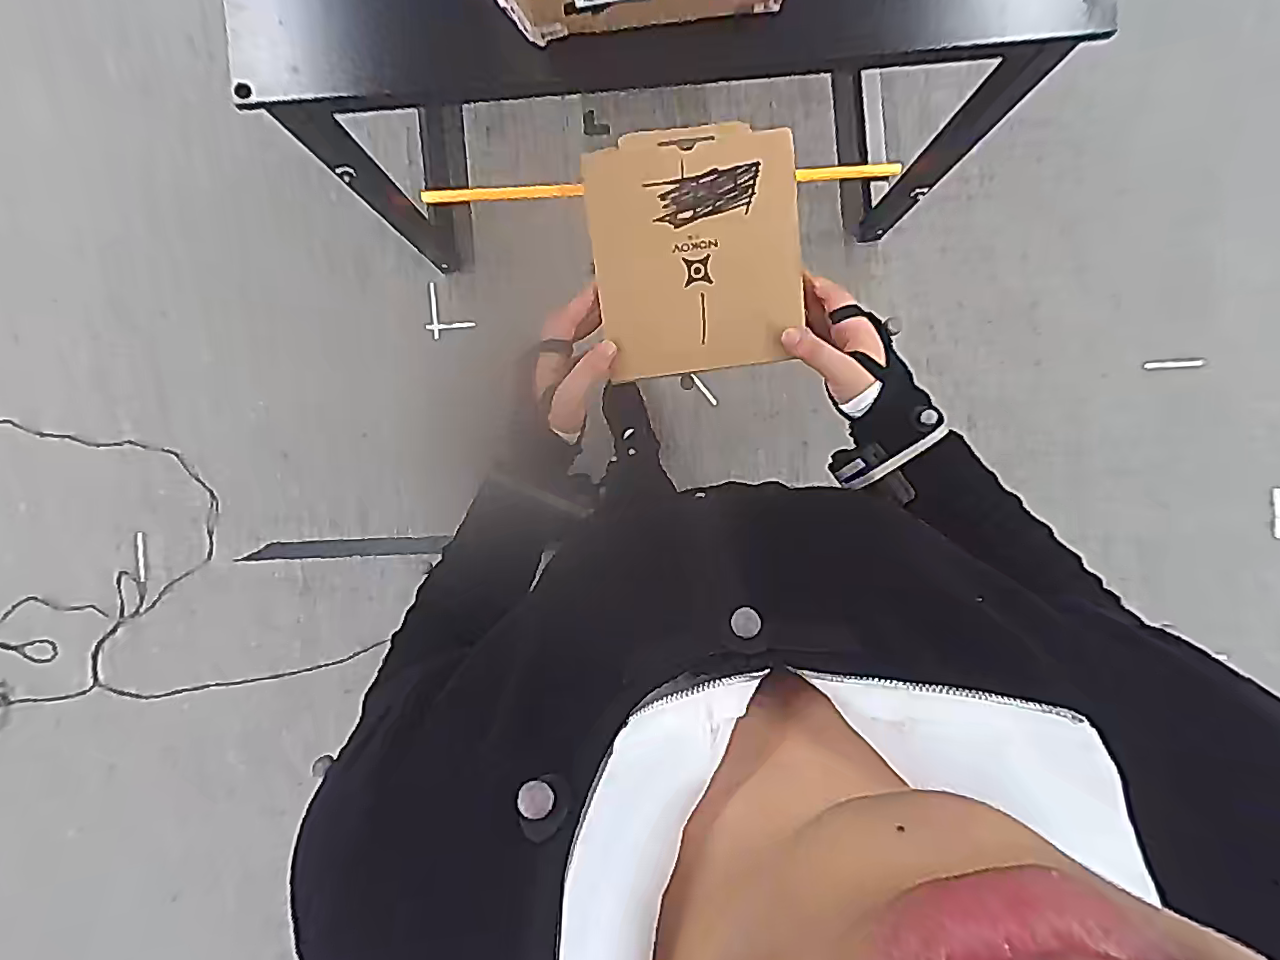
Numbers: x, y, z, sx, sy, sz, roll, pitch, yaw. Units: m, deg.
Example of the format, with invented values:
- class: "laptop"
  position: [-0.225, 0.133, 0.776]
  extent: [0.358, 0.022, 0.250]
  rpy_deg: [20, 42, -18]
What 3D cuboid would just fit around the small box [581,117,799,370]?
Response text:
- class: "small box"
  position: [0.040, -0.202, 0.511]
  extent: [0.168, 0.176, 0.179]
  rpy_deg: [-7, 101, 0]
